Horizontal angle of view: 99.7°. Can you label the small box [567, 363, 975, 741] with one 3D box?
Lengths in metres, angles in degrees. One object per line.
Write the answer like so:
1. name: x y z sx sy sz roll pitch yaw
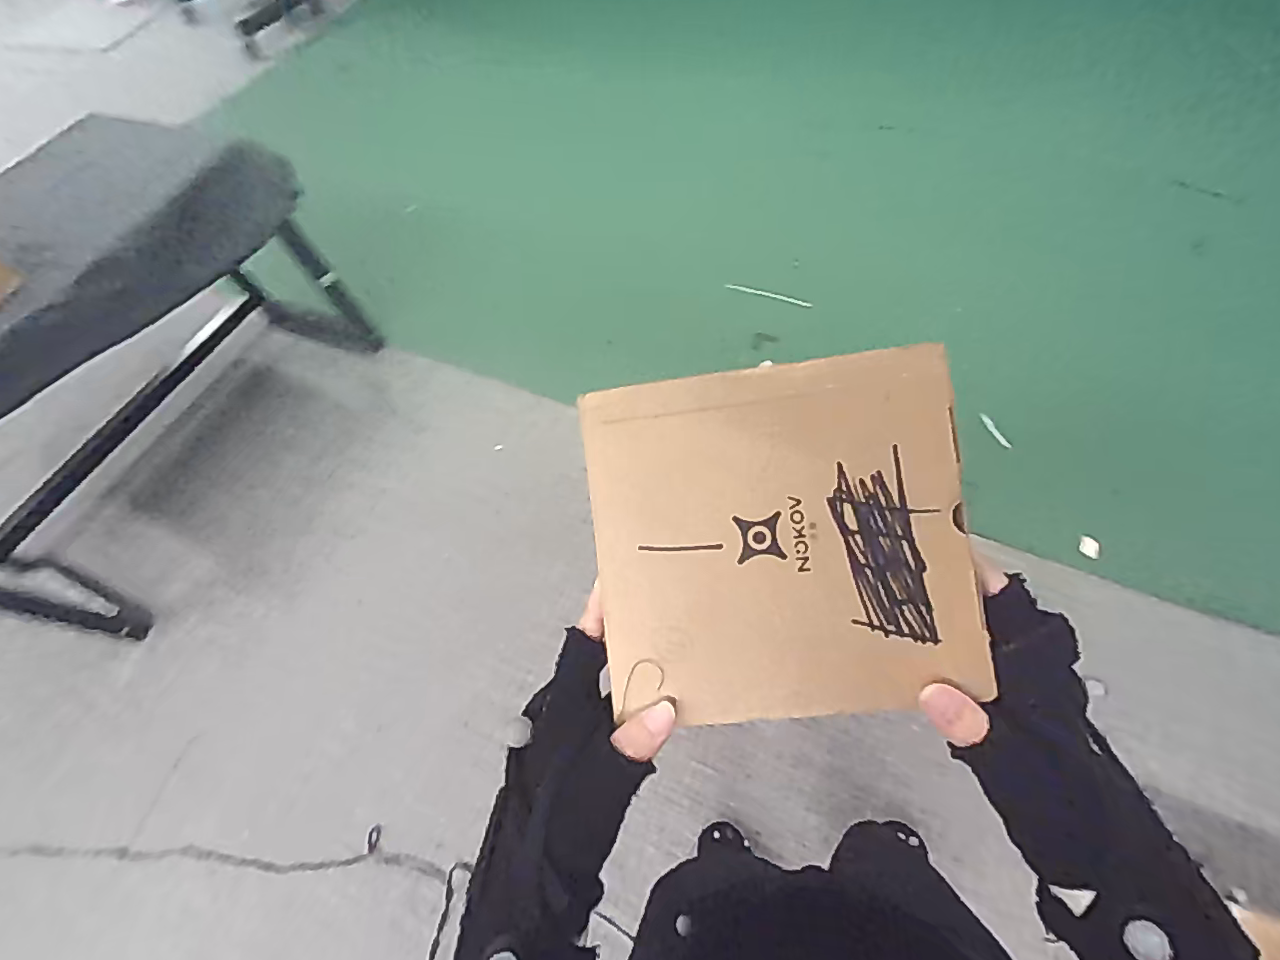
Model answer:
1. small box: 0.066 0.038 0.338 0.179 0.176 0.168 -9 86 6
